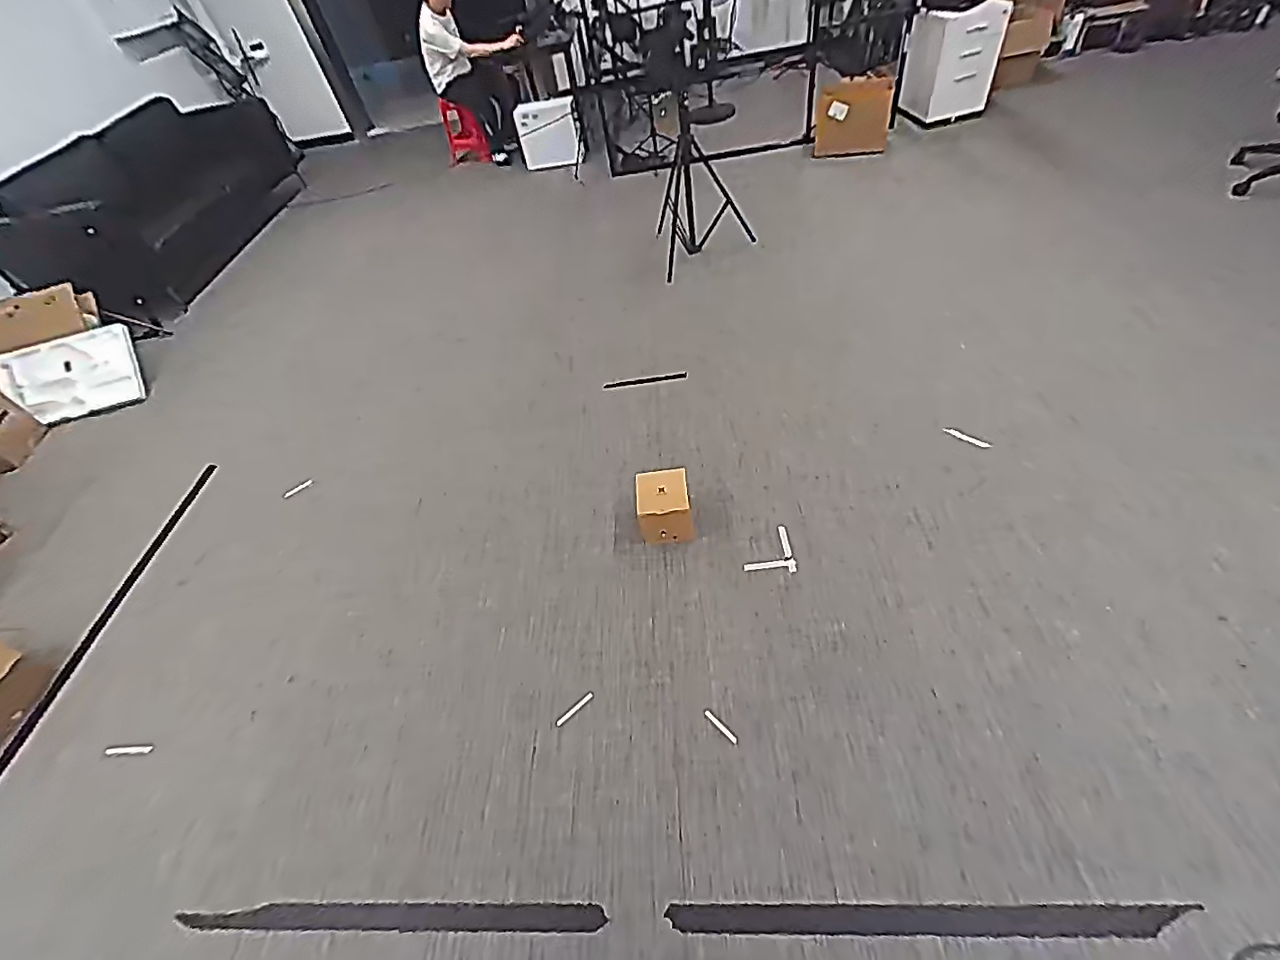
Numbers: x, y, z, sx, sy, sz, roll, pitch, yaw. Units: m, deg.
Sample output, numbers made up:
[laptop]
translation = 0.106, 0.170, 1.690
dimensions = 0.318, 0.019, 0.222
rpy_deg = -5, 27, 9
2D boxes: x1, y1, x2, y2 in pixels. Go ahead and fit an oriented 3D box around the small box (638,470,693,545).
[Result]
[small box]
translation = 0.084, 0.093, 1.798
dimensions = 0.168, 0.176, 0.179
rpy_deg = -7, 48, 5
